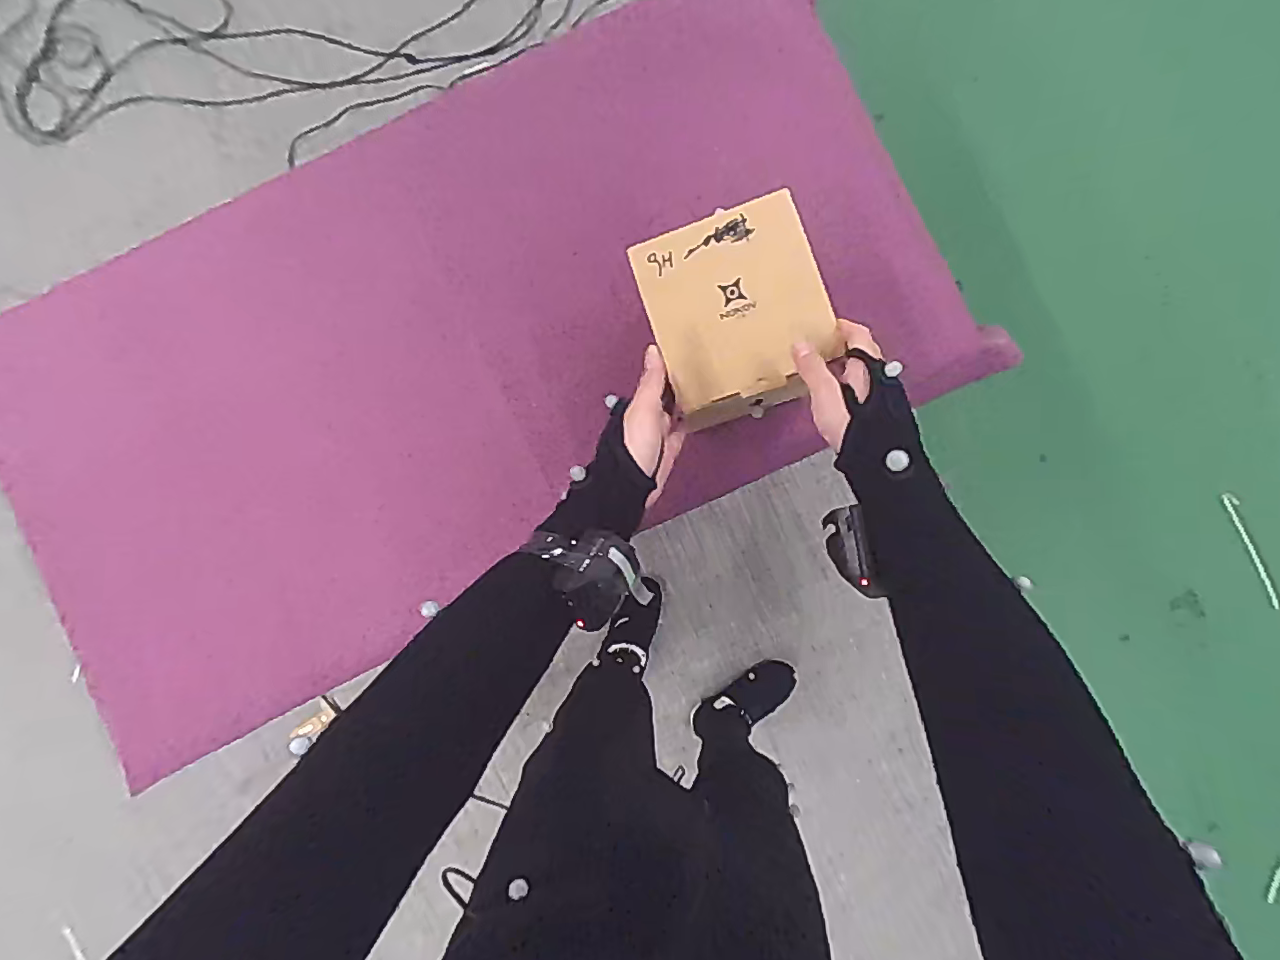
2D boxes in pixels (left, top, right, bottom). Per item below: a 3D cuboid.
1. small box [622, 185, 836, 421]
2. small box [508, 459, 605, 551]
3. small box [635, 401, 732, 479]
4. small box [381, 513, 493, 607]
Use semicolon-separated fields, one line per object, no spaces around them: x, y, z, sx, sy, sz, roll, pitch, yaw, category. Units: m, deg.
0.094;-0.170;0.589;0.168;0.176;0.179;-17;87;8;small box
-0.194;0.059;1.328;0.179;0.176;0.168;-25;87;2;small box
0.104;-0.110;1.323;0.179;0.176;0.168;-29;88;1;small box
-0.492;0.190;1.334;0.179;0.176;0.168;-27;88;0;small box
